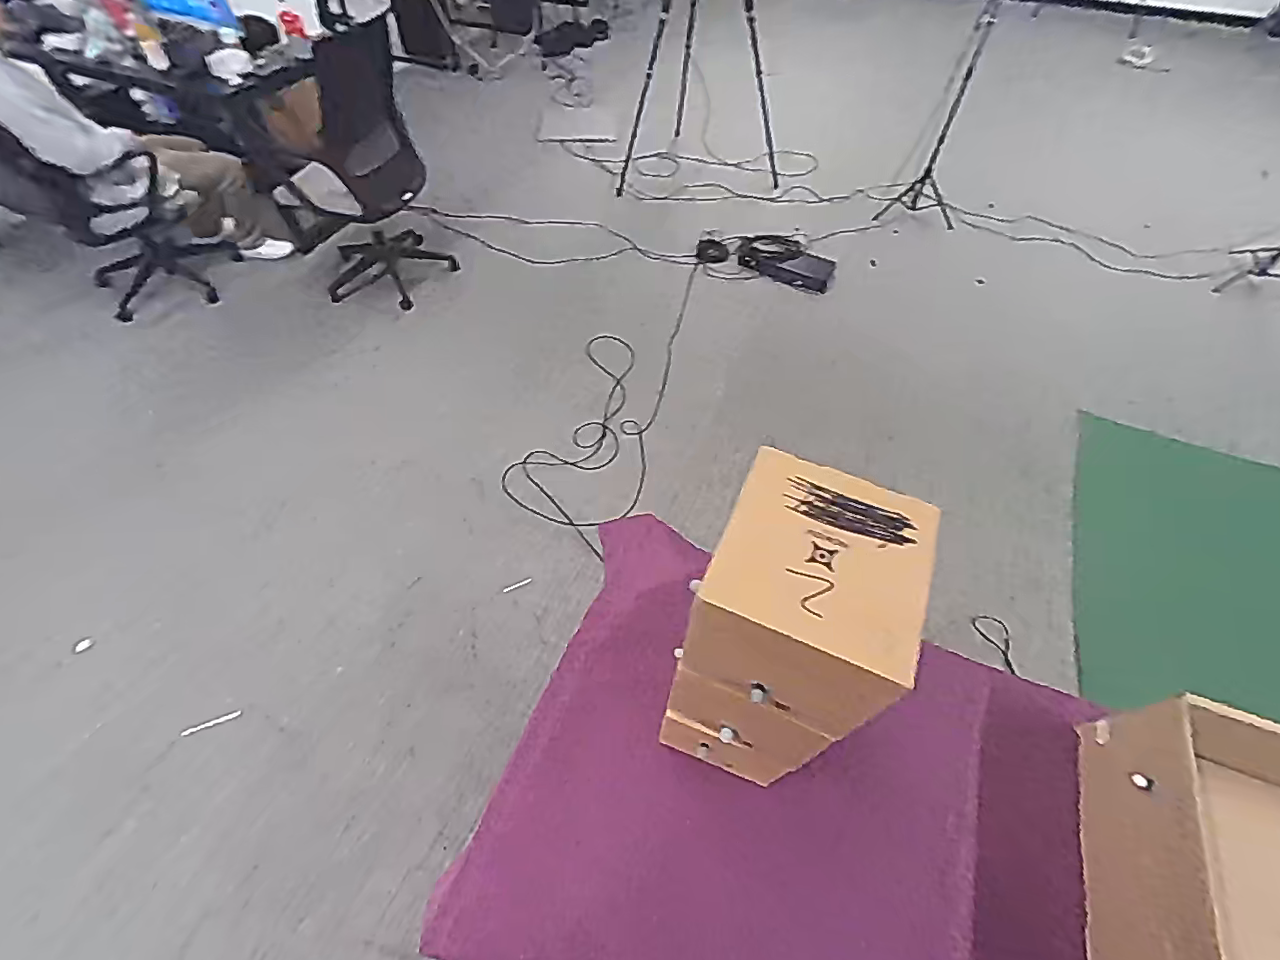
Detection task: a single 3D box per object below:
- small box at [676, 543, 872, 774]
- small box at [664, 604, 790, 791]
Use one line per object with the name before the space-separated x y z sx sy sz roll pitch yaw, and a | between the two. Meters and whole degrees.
small box | 0.149 0.212 0.640 0.168 0.176 0.179 22 55 15
small box | 0.138 0.313 0.769 0.168 0.176 0.179 18 53 12
